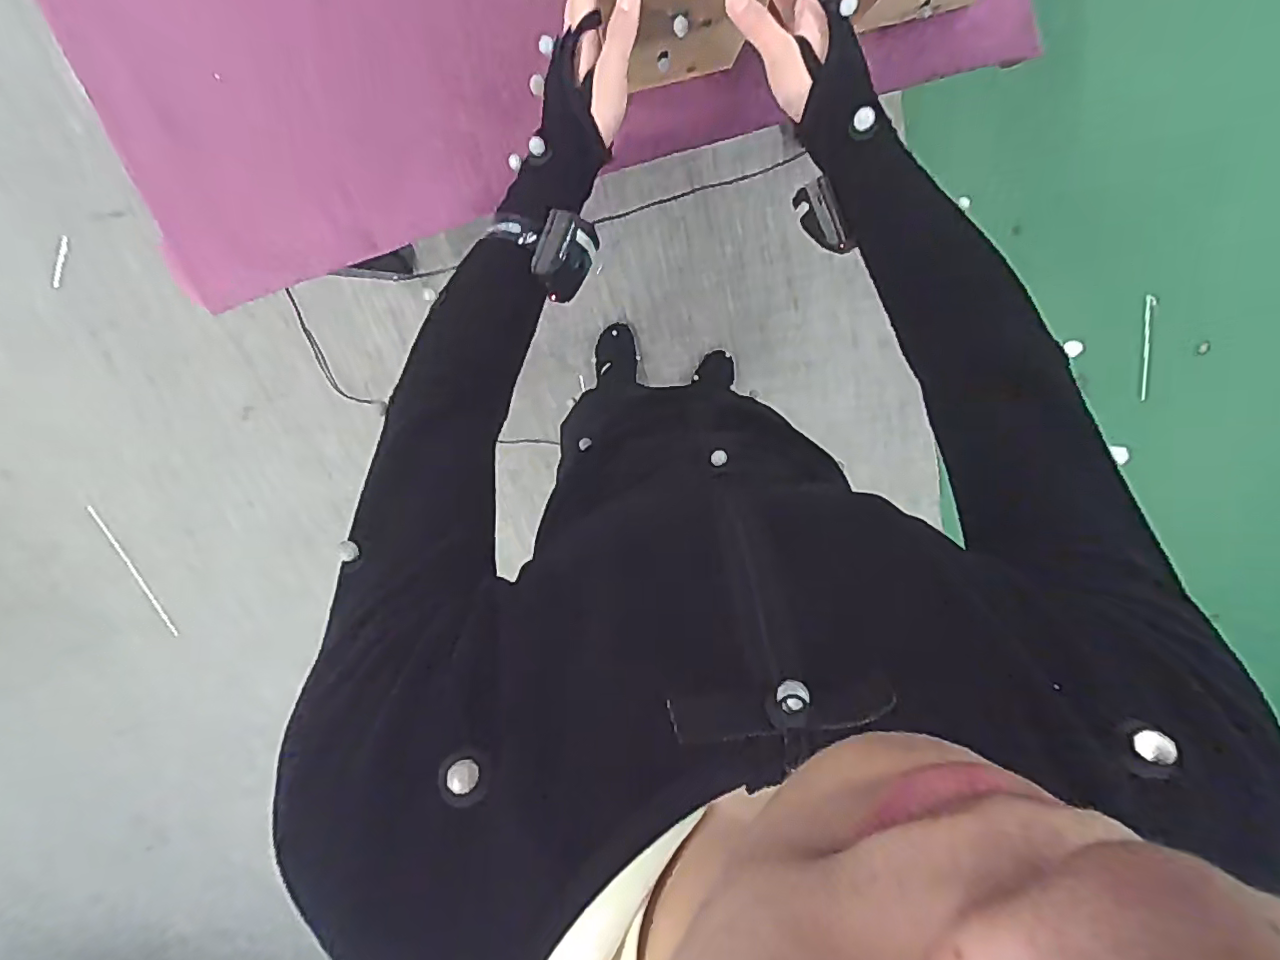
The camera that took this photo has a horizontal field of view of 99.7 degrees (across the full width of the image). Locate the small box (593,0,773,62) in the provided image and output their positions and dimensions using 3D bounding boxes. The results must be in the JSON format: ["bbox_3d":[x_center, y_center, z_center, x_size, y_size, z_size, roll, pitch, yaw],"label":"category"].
[{"bbox_3d":[0.029,-0.497,0.450,0.168,0.176,0.179,-9,108,4],"label":"small box"}]

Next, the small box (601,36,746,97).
[{"bbox_3d":[0.032,-0.580,0.628,0.168,0.176,0.179,-13,106,2],"label":"small box"}]
